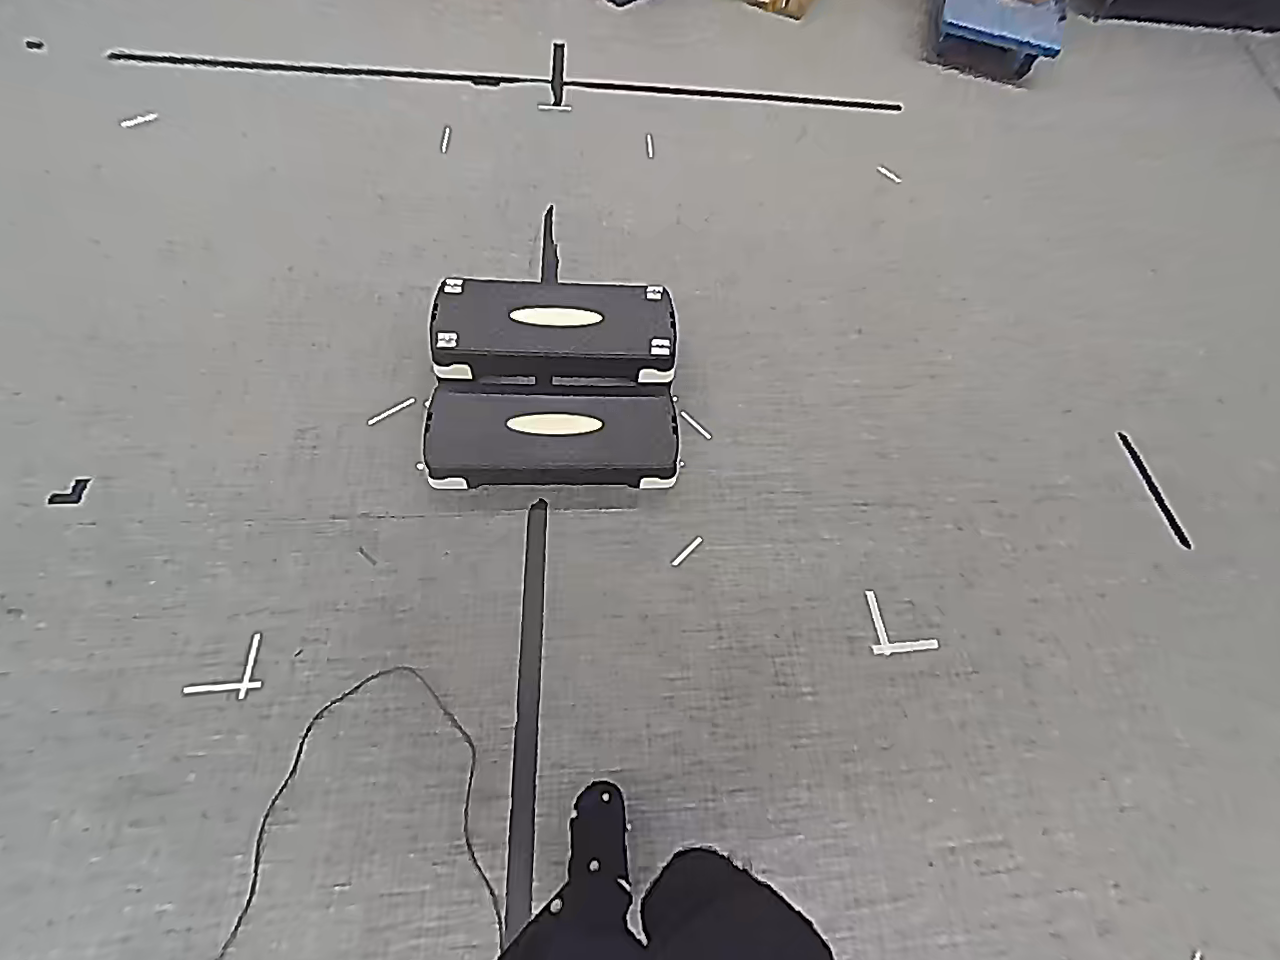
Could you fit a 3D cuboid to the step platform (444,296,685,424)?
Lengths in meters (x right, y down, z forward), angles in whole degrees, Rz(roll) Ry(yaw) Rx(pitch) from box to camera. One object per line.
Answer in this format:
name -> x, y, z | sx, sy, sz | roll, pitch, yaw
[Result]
step platform -> -0.209, -0.351, 1.579 | 0.684, 0.204, 0.286 | 4, 60, -5
